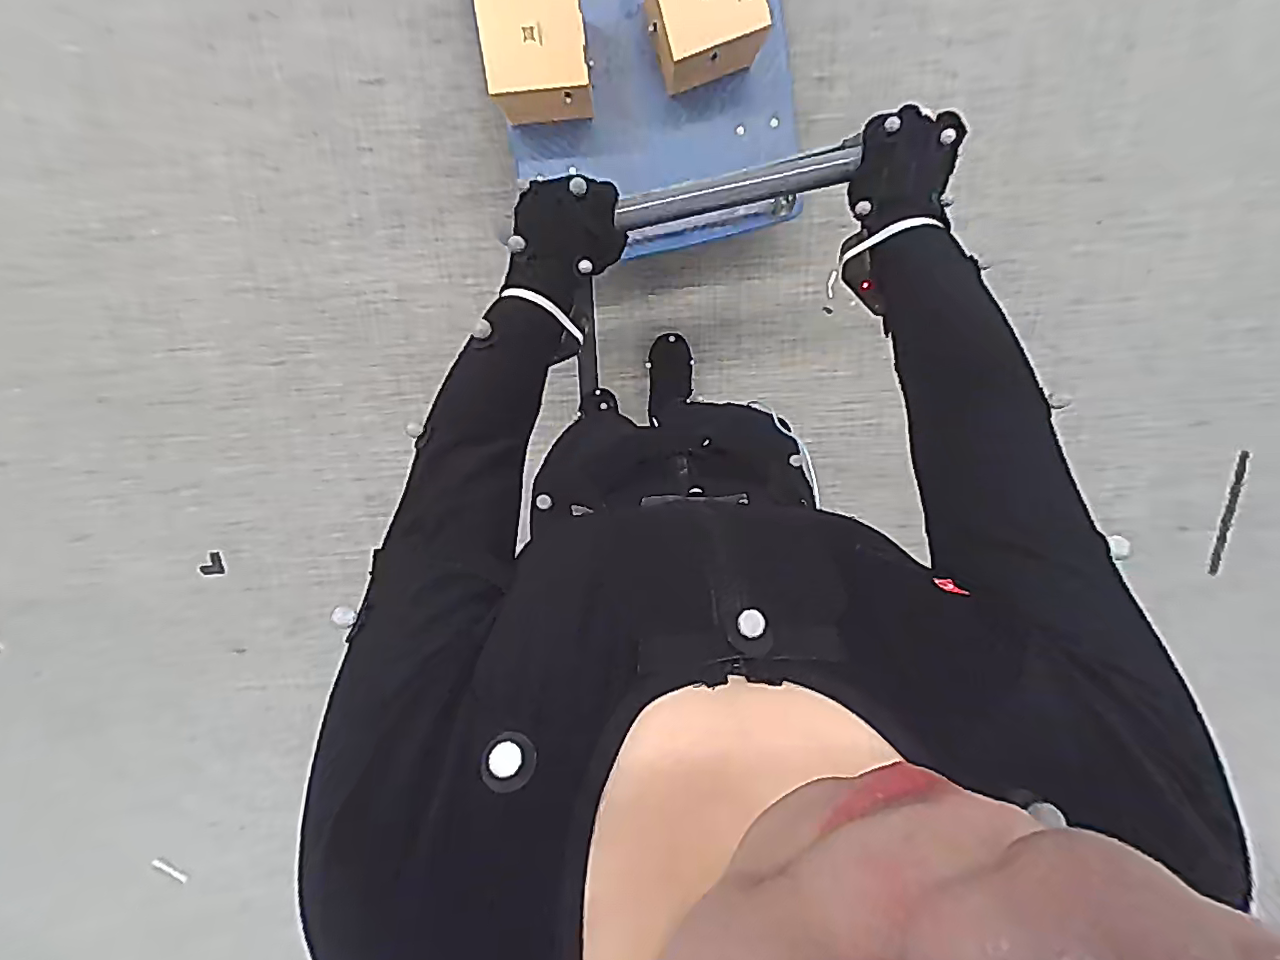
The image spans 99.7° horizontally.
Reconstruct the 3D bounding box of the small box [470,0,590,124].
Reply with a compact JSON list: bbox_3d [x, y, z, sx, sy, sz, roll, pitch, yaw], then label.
[{"bbox_3d":[-0.190,-0.767,0.977,0.179,0.176,0.168,-6,108,-1],"label":"small box"}]

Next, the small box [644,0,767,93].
[{"bbox_3d":[0.107,-0.831,0.962,0.179,0.176,0.168,-17,108,4],"label":"small box"}]
